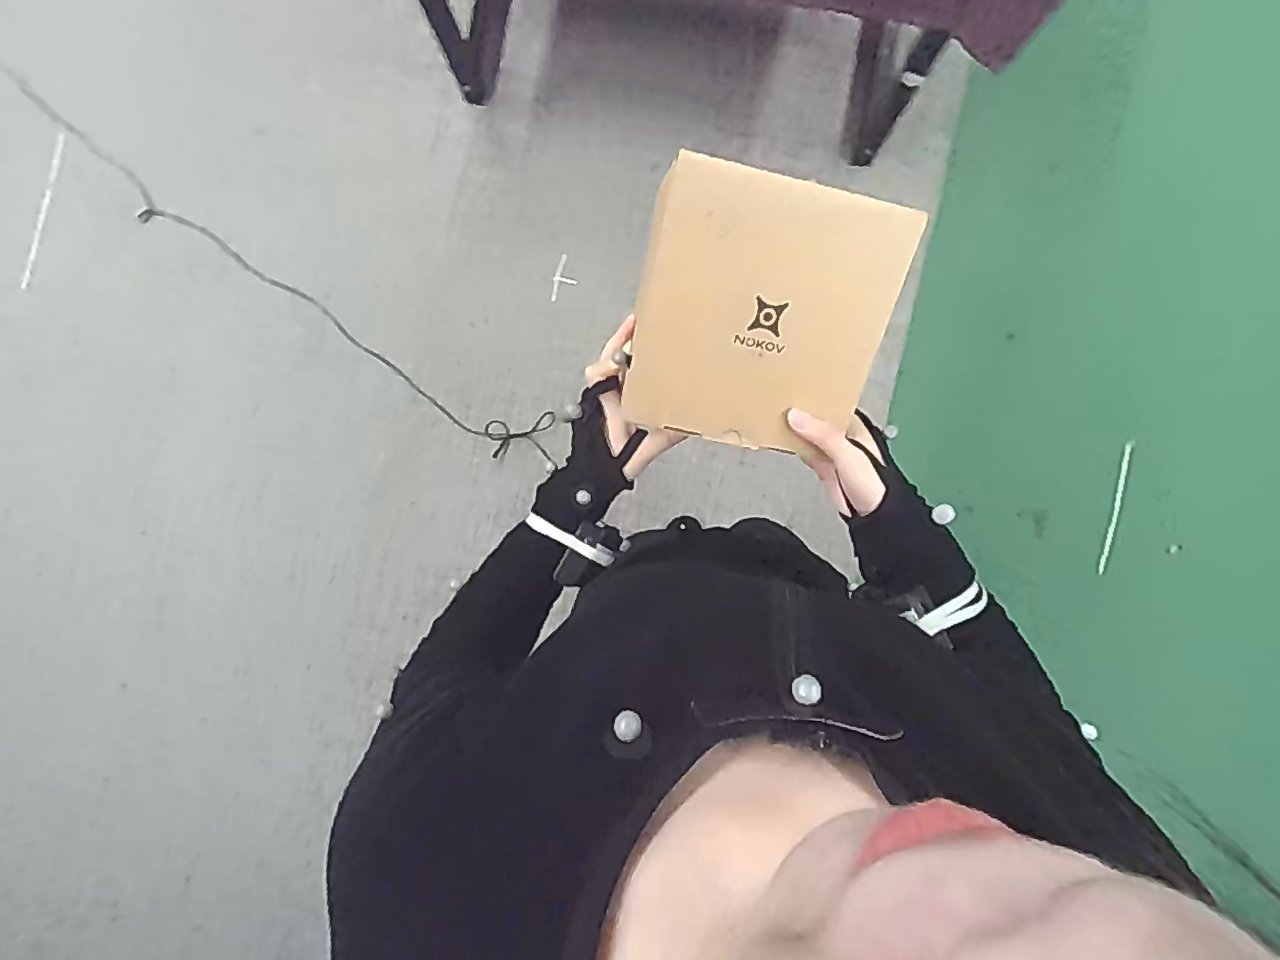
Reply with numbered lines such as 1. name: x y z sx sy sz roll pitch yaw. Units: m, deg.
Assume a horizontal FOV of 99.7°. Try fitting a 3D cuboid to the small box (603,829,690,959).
1. small box: 0.016 1.019 1.346 0.168 0.176 0.179 18 87 2
